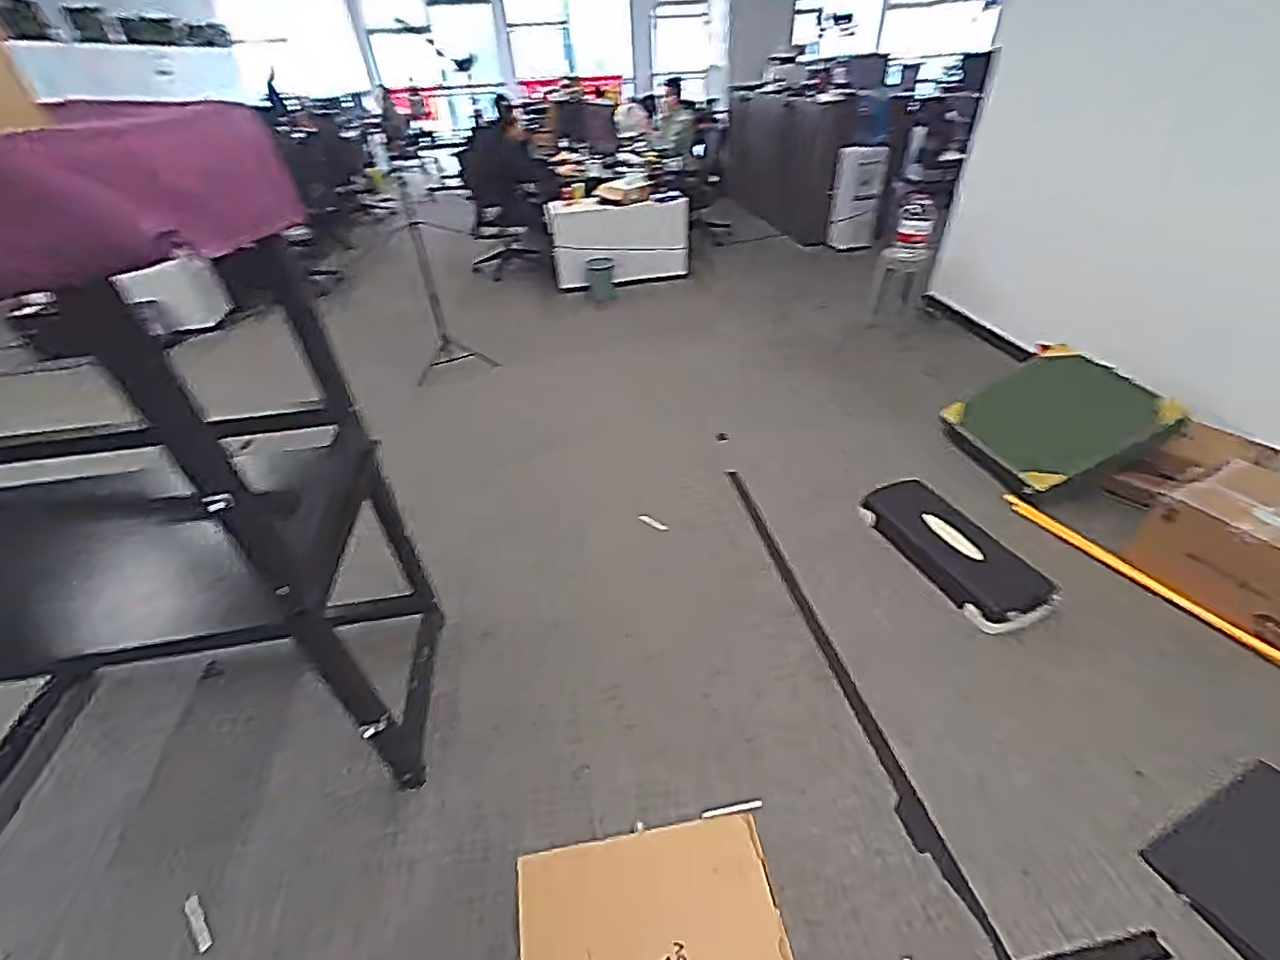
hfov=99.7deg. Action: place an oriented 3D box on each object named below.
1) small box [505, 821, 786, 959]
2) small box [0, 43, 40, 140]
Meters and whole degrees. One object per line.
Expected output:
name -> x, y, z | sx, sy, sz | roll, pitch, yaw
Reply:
small box -> 0.002, 0.366, 0.382 | 0.179, 0.176, 0.168 | -5, 46, -10
small box -> -0.866, -0.476, 0.613 | 0.168, 0.176, 0.179 | -7, 38, -2
